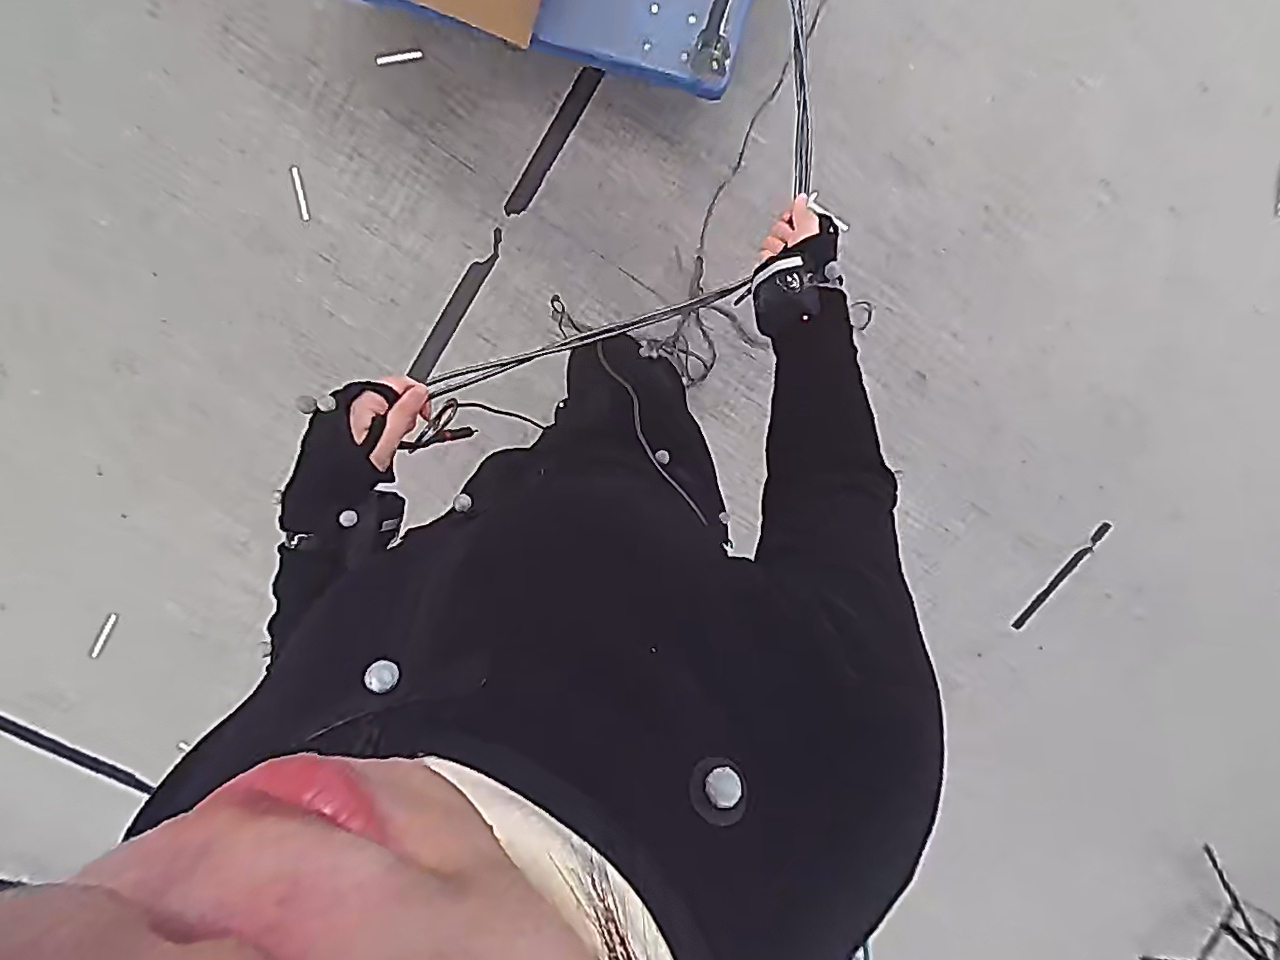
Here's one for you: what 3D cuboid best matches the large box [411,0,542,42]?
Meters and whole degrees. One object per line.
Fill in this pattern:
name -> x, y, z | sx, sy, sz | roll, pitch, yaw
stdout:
large box -> -0.359, -1.048, 0.908 | 0.408, 0.320, 0.320 | 18, 101, -5
